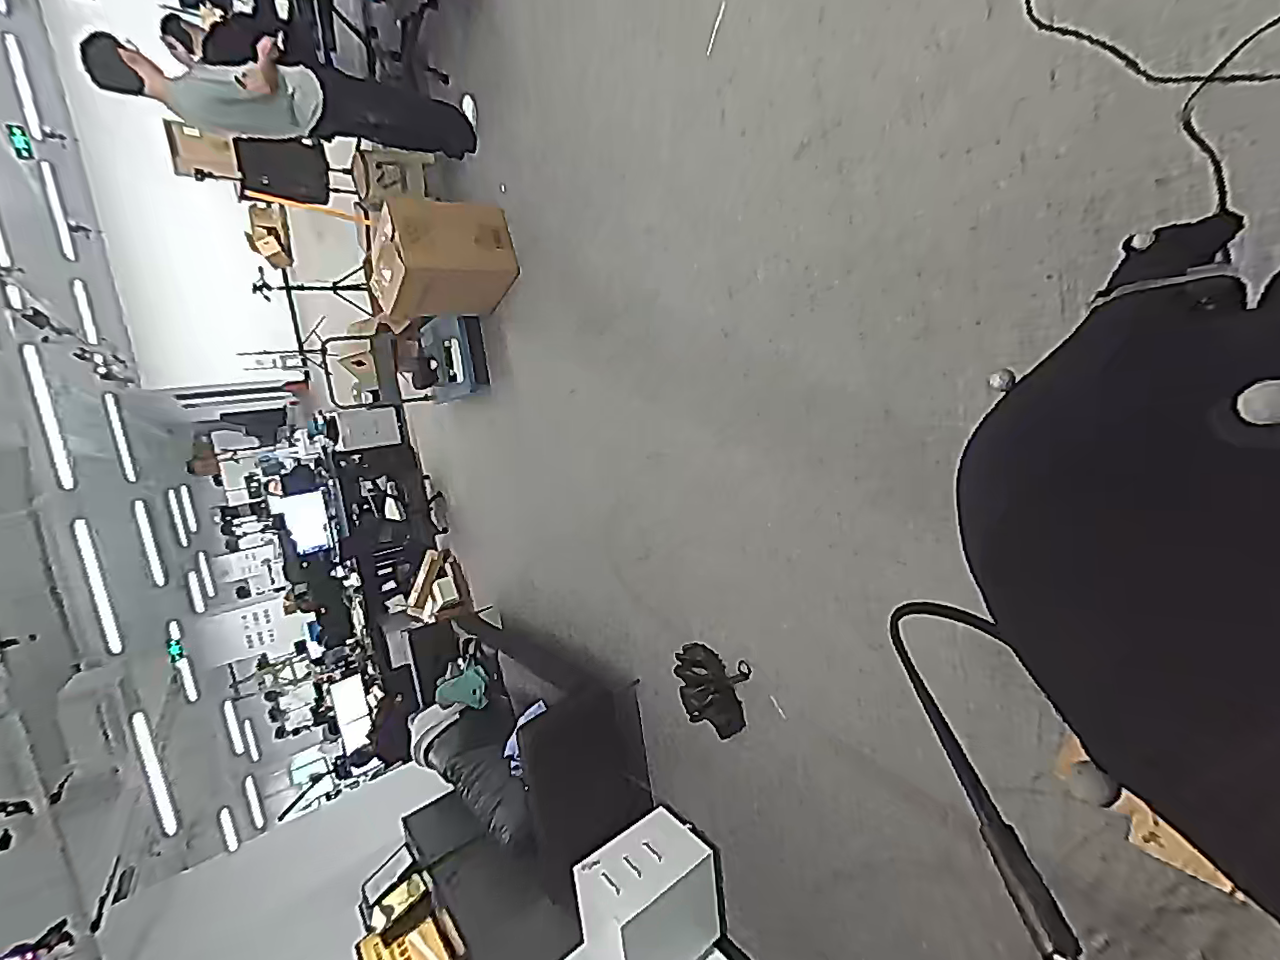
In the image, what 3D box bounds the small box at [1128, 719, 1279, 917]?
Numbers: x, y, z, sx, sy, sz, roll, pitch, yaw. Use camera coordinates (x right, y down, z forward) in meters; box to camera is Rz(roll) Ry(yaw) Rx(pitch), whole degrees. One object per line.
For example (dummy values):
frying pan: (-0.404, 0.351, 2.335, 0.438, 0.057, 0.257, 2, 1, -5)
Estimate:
small box: (0.910, 0.510, 0.847, 0.179, 0.176, 0.168, 13, 111, 51)
